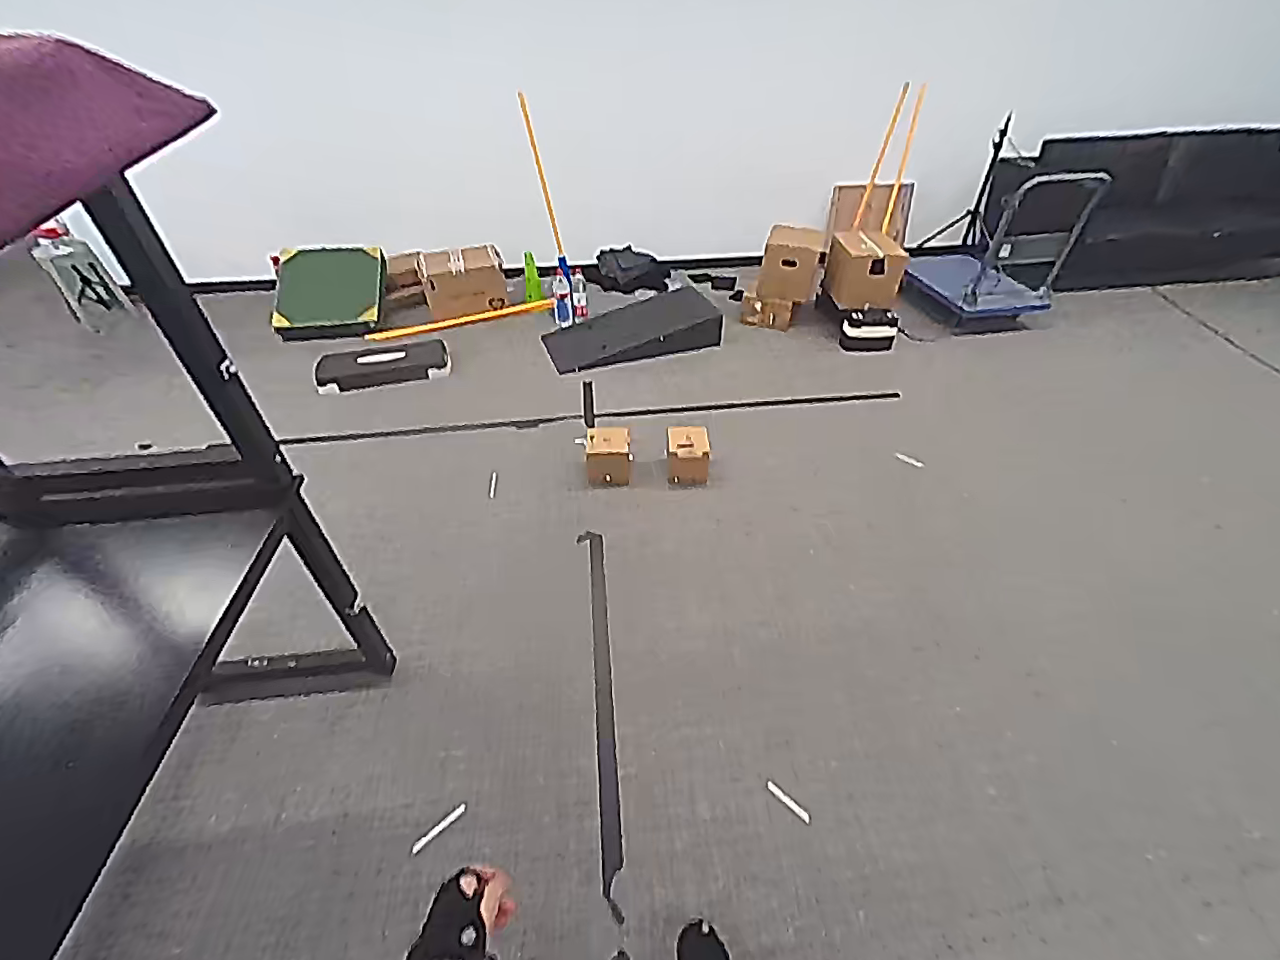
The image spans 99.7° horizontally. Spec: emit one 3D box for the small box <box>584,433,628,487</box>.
[{"bbox_3d":[-0.140,-0.081,2.271,0.179,0.176,0.168,0,40,-1],"label":"small box"}]

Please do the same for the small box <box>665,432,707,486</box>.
[{"bbox_3d":[0.192,-0.087,2.278,0.168,0.176,0.179,0,39,0],"label":"small box"}]
